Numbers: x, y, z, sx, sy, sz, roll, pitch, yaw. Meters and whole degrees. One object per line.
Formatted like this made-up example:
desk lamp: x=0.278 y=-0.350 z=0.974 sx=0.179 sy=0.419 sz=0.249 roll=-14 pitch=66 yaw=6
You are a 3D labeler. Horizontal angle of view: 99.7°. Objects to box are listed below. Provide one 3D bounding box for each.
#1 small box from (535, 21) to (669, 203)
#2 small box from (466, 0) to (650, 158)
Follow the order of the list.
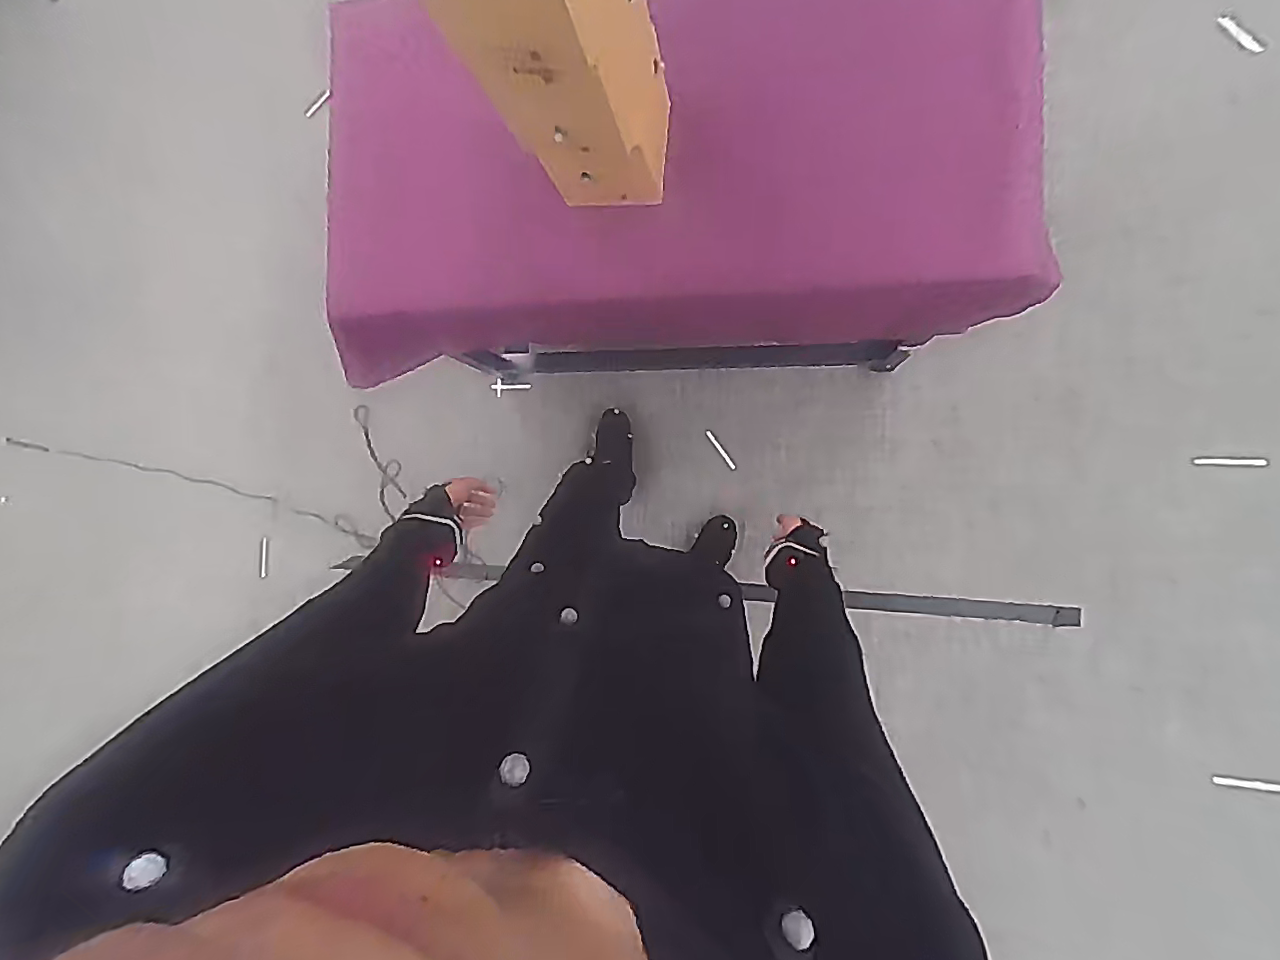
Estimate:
small box: x=-0.051 y=-0.555 z=0.843 sx=0.168 sy=0.176 sz=0.179 roll=5 pitch=89 yaw=12
small box: x=-0.090 y=-0.548 z=0.683 sx=0.168 sy=0.176 sz=0.179 roll=12 pitch=91 yaw=12
